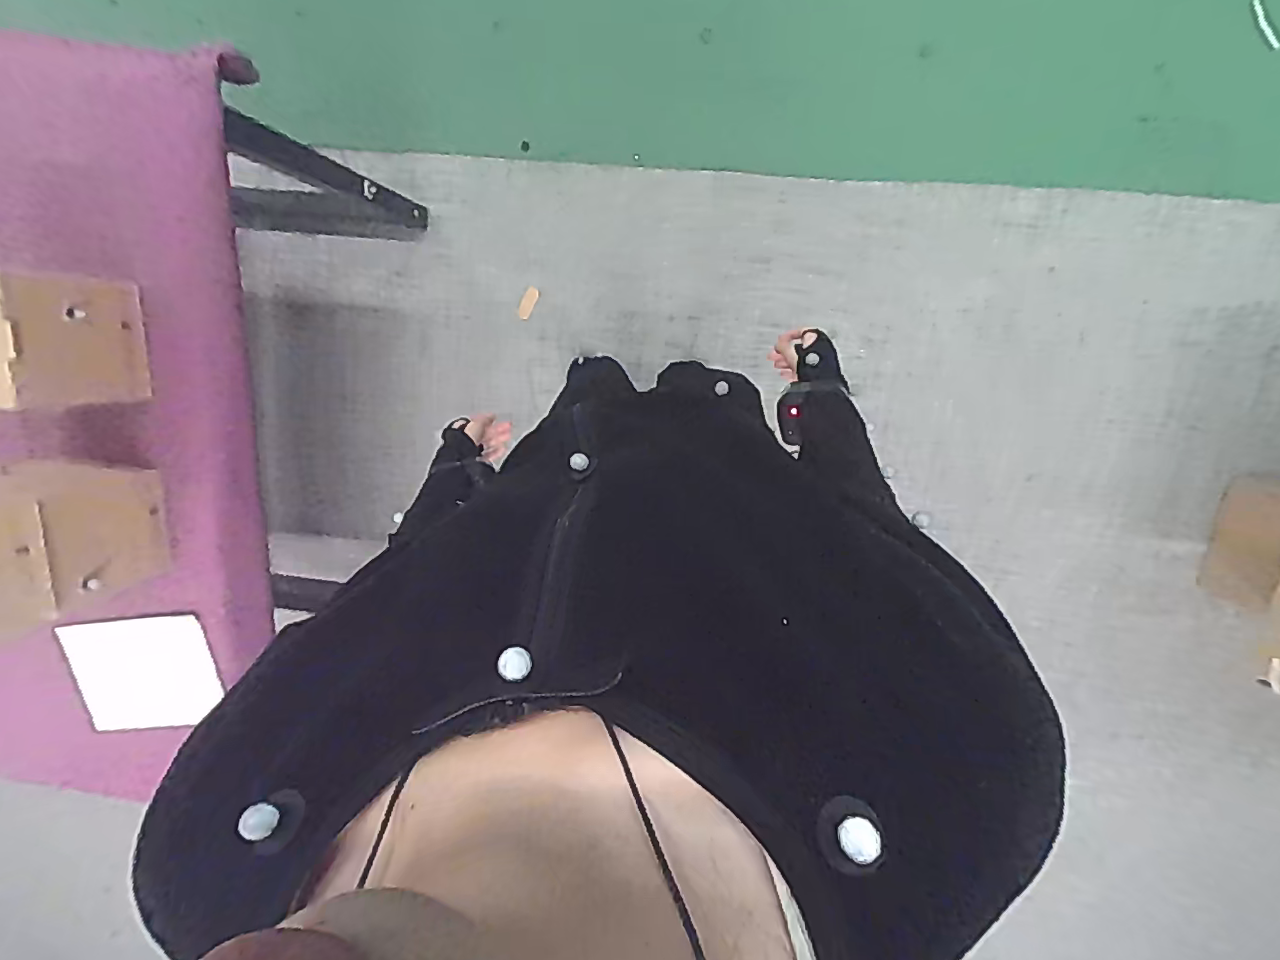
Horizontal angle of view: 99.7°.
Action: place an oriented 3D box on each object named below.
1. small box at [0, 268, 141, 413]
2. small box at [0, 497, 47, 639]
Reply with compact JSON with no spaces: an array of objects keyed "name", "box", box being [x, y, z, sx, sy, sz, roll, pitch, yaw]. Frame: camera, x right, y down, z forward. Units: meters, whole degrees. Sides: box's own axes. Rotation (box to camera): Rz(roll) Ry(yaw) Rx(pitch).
[{"name":"small box","box":[-0.809,-0.188,0.711,0.179,0.176,0.168,8,103,5]},{"name":"small box","box":[-0.845,0.112,0.618,0.179,0.176,0.168,8,104,5]}]
